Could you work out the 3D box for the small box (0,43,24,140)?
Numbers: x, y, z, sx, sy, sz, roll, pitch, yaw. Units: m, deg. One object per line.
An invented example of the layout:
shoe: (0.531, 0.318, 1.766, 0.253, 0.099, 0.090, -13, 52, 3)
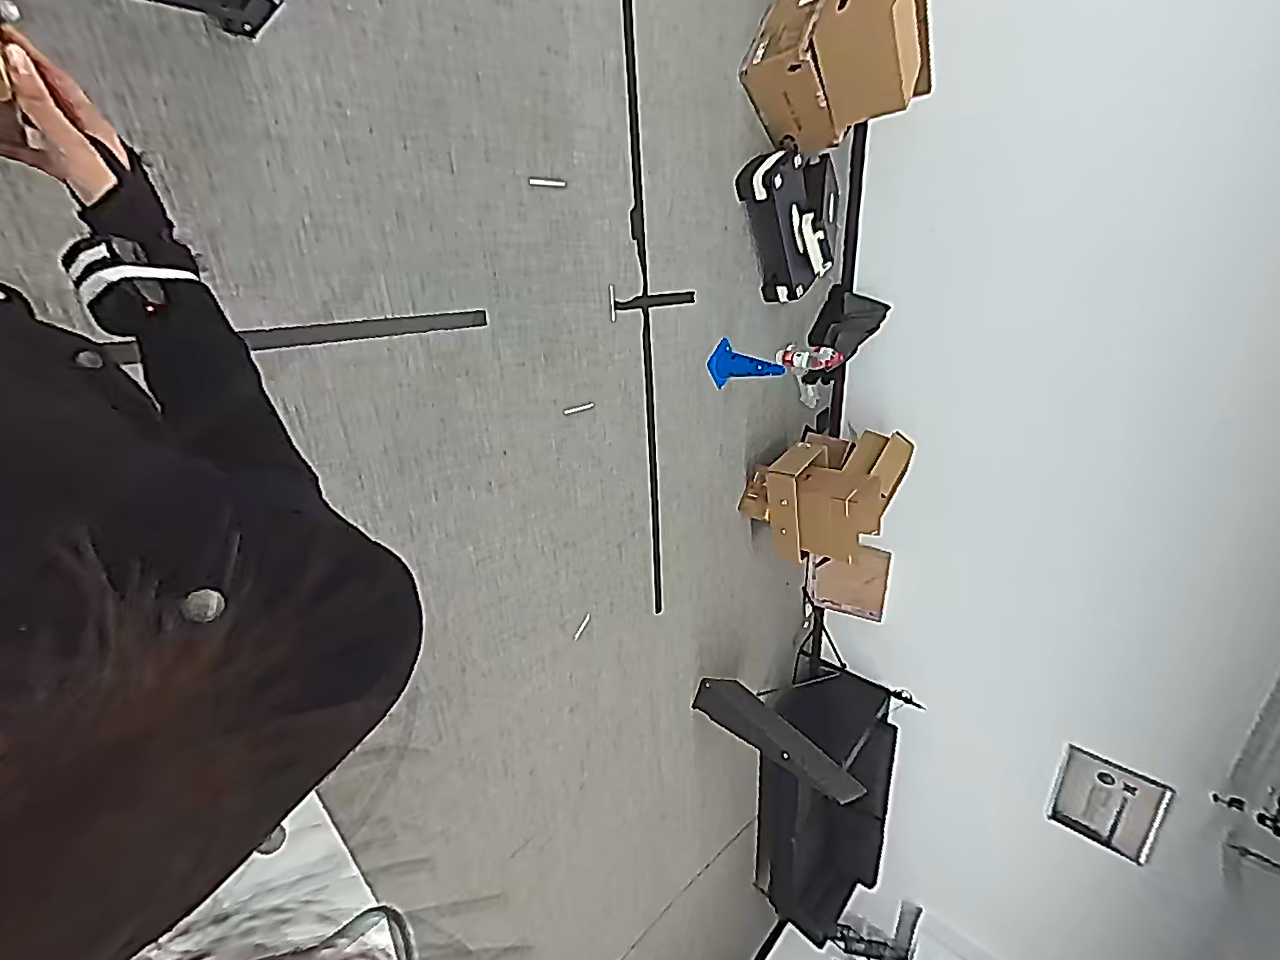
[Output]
small box: (-0.536, -0.337, 0.331, 0.179, 0.176, 0.168, -17, 105, -43)
